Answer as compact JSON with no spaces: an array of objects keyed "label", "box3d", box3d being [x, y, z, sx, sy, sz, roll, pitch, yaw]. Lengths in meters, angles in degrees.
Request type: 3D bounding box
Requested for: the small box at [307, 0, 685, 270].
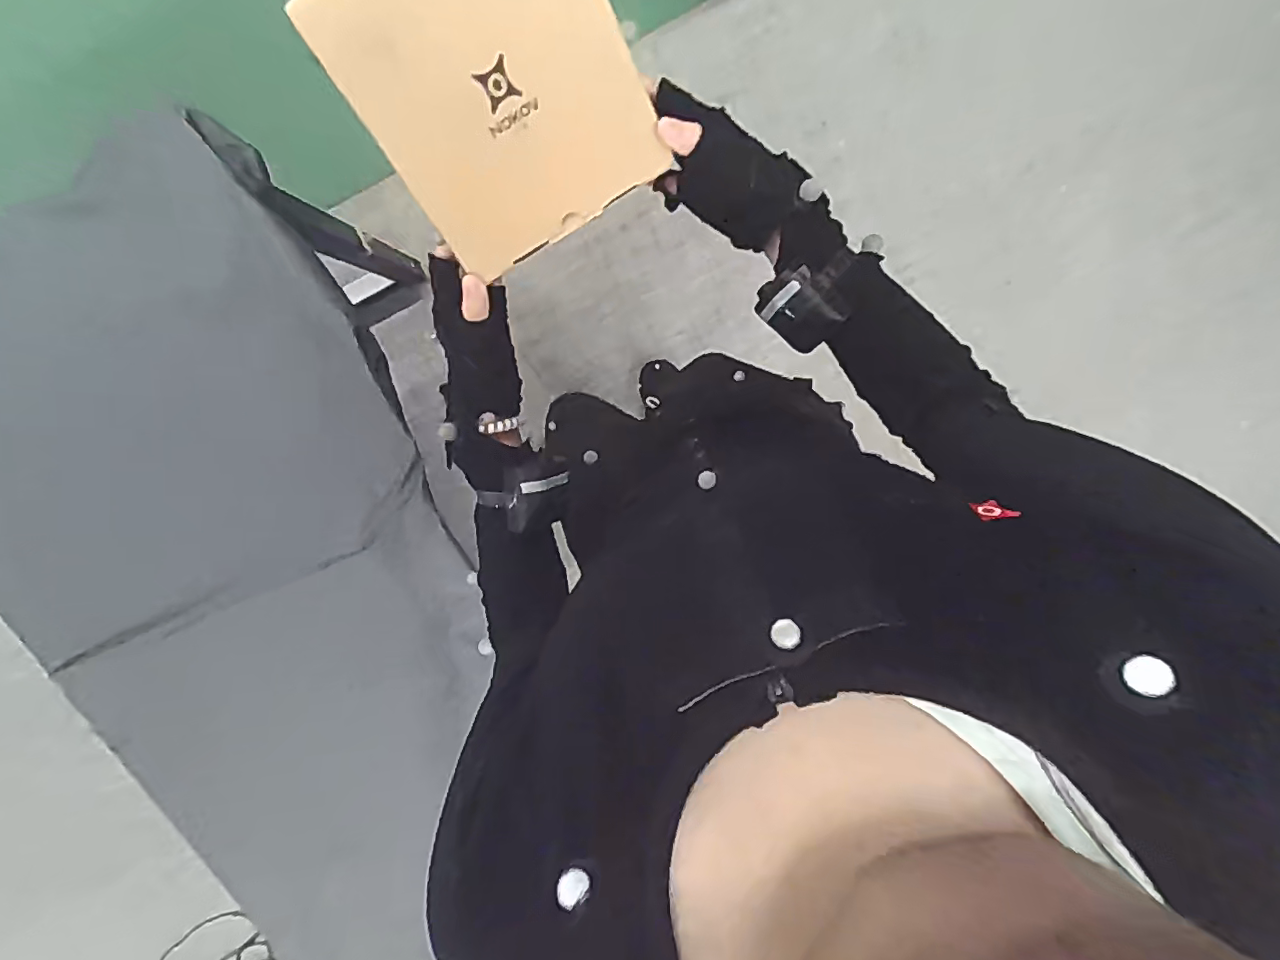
[{"label":"small box","box3d":[-0.093,-0.289,0.396,0.168,0.176,0.179,-29,125,6]}]
